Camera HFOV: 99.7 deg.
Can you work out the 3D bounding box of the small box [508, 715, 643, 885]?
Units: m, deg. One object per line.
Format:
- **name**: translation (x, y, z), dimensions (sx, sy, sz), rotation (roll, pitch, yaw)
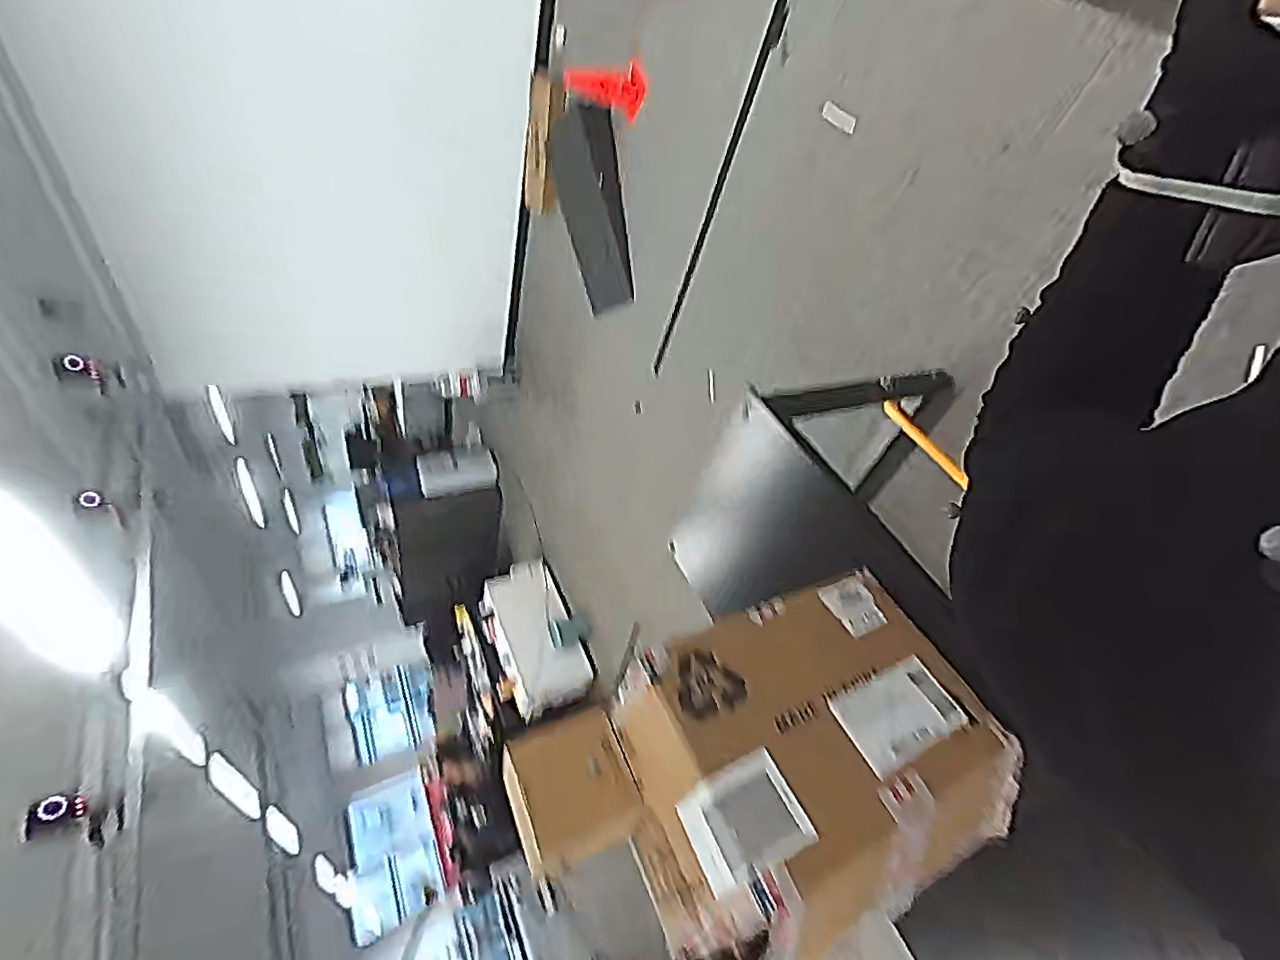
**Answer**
- **small box**: translation (-0.110, 0.521, 0.889), dimensions (0.168, 0.176, 0.179), rotation (57, 147, 35)
